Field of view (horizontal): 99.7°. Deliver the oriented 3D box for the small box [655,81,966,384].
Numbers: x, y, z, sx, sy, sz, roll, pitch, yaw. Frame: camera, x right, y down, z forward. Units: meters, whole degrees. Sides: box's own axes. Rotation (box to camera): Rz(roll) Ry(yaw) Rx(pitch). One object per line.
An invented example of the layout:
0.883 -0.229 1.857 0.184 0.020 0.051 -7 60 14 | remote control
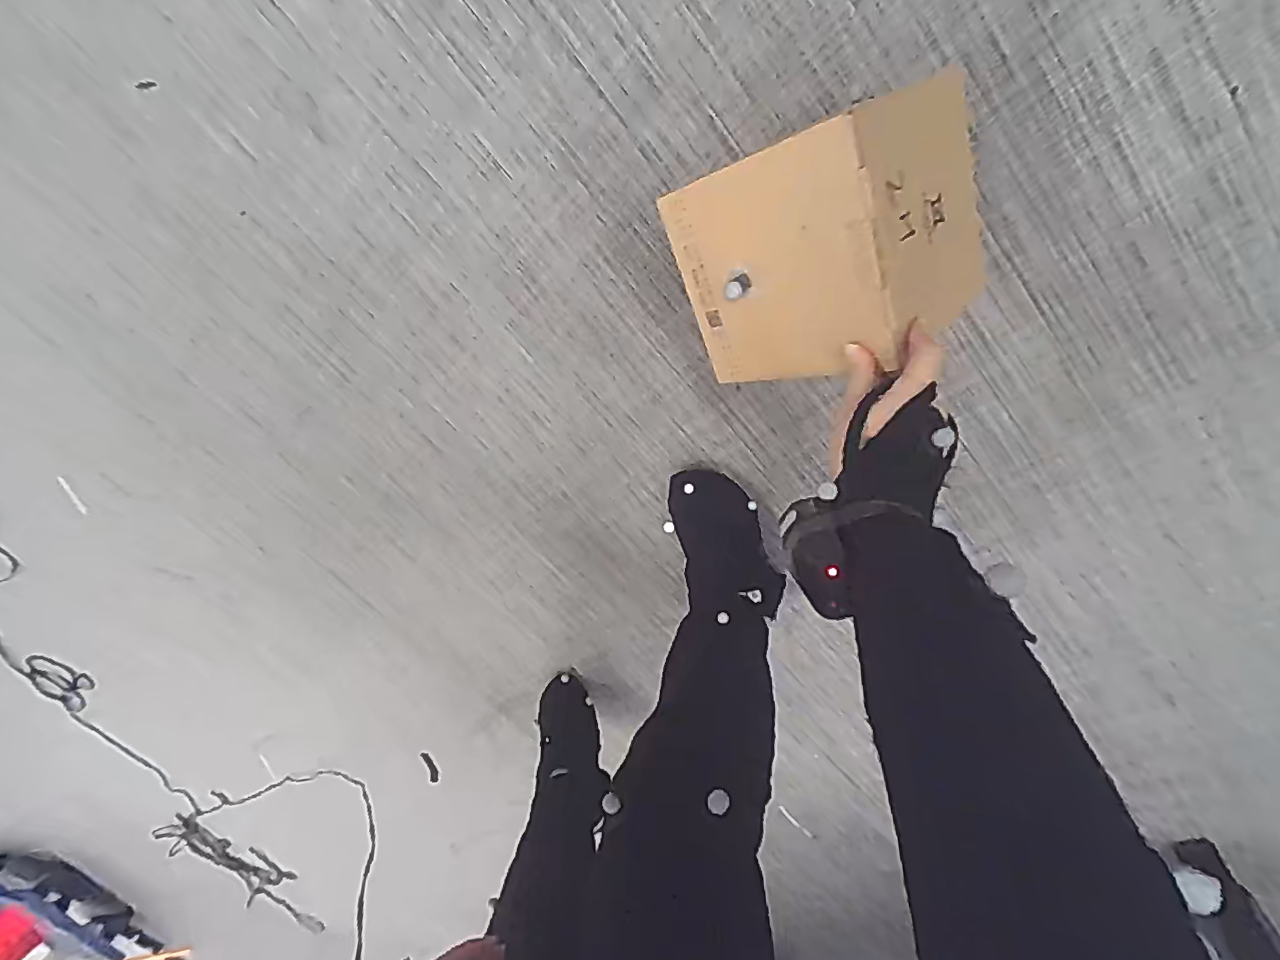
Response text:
0.145 -0.194 0.457 0.176 0.179 0.168 7 129 51 | small box
